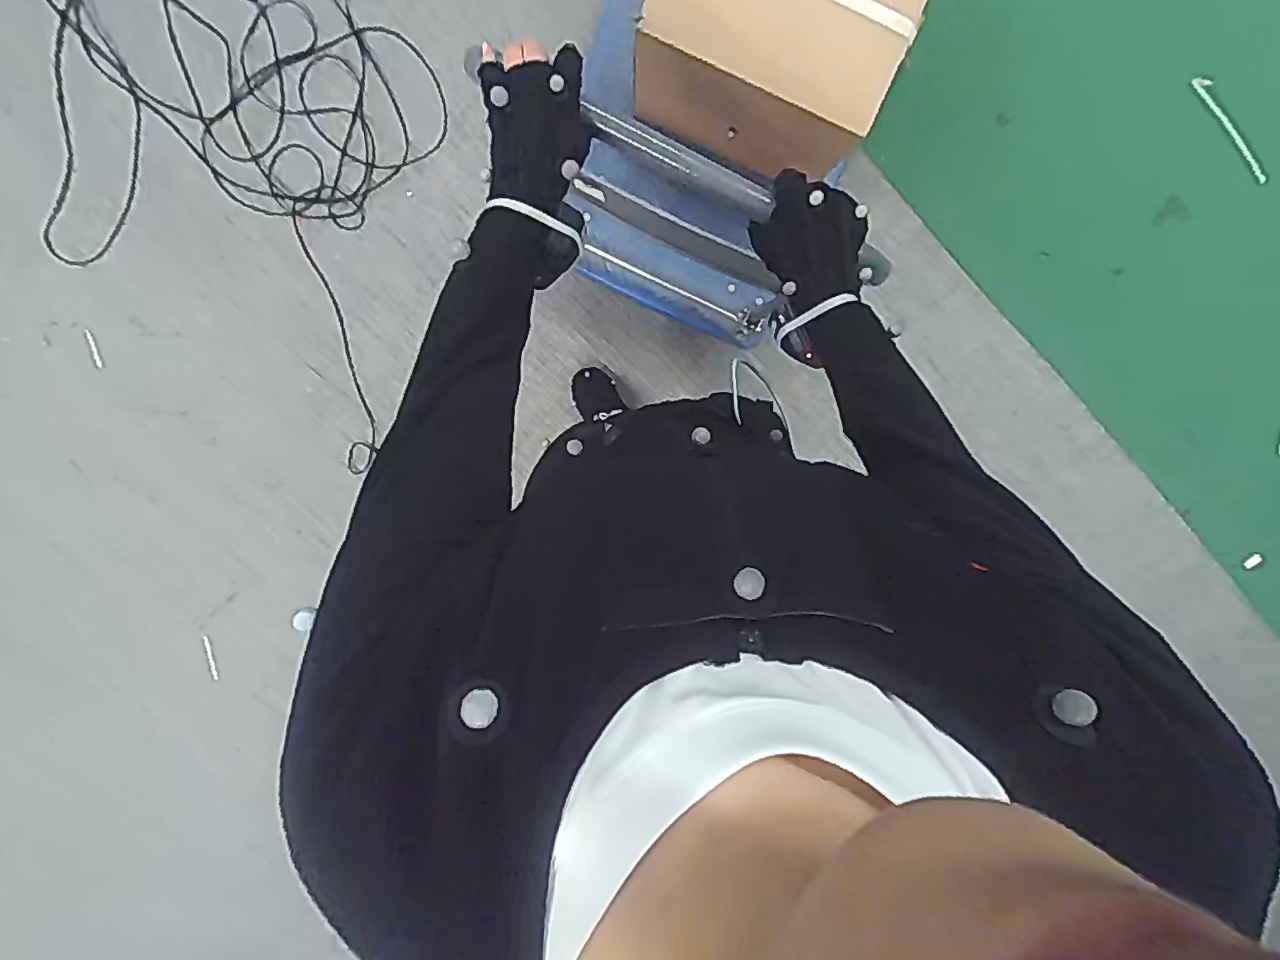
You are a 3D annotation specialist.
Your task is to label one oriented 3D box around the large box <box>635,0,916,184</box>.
[{"bbox_3d":[0.231,-0.807,0.979,0.408,0.320,0.320,21,101,-5],"label":"large box"}]
